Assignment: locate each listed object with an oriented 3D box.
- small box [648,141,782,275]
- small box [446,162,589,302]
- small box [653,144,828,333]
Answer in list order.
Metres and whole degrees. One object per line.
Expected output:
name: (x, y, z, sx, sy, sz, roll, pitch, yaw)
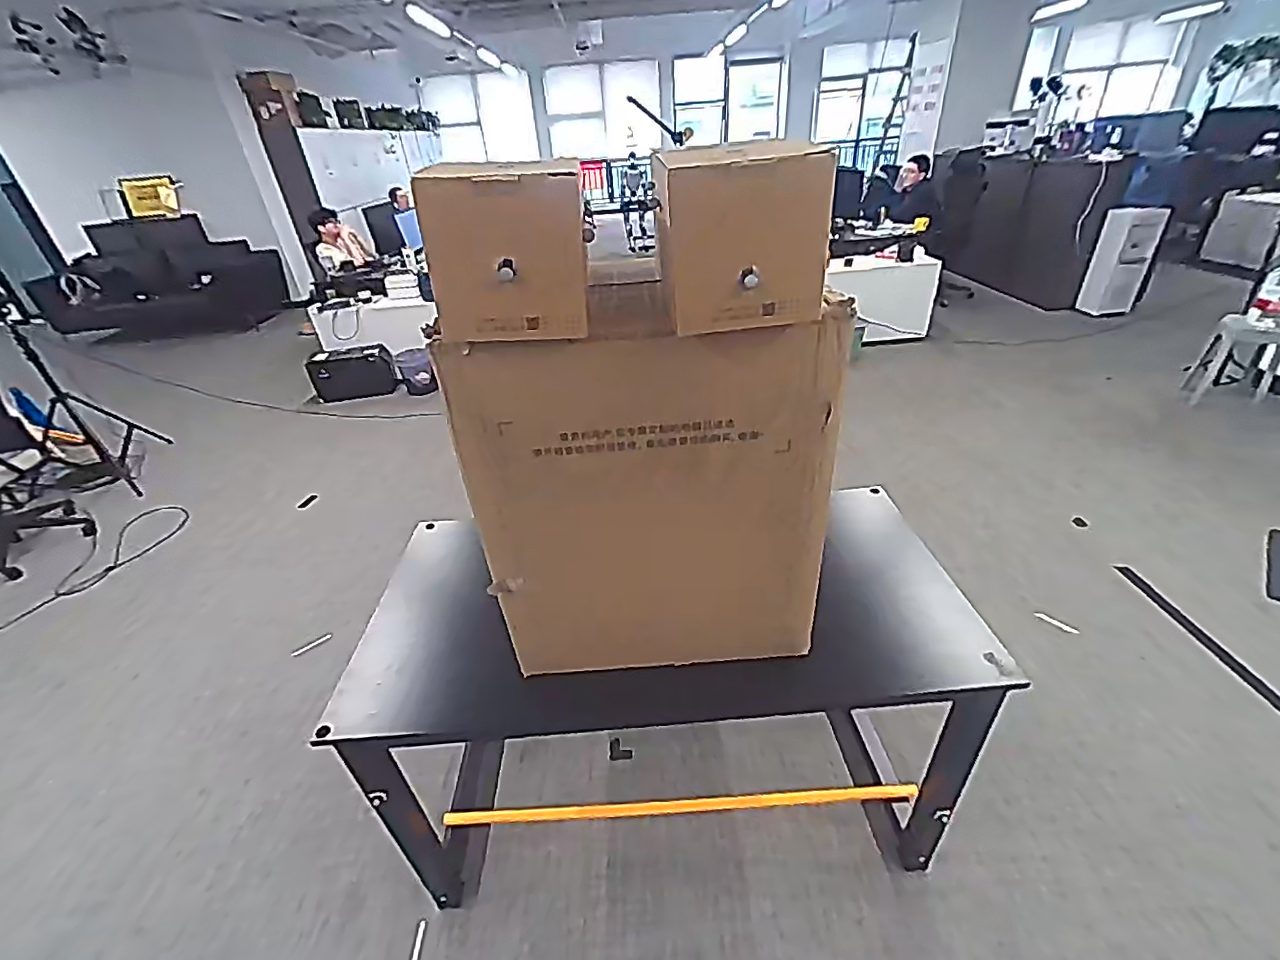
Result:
small box: (0.102, -0.392, 0.798, 0.168, 0.176, 0.179, -7, 32, 0)
small box: (-0.169, -0.372, 0.809, 0.168, 0.176, 0.179, -5, 32, -1)
small box: (0.106, -0.287, 0.639, 0.168, 0.176, 0.179, -7, 35, 1)
